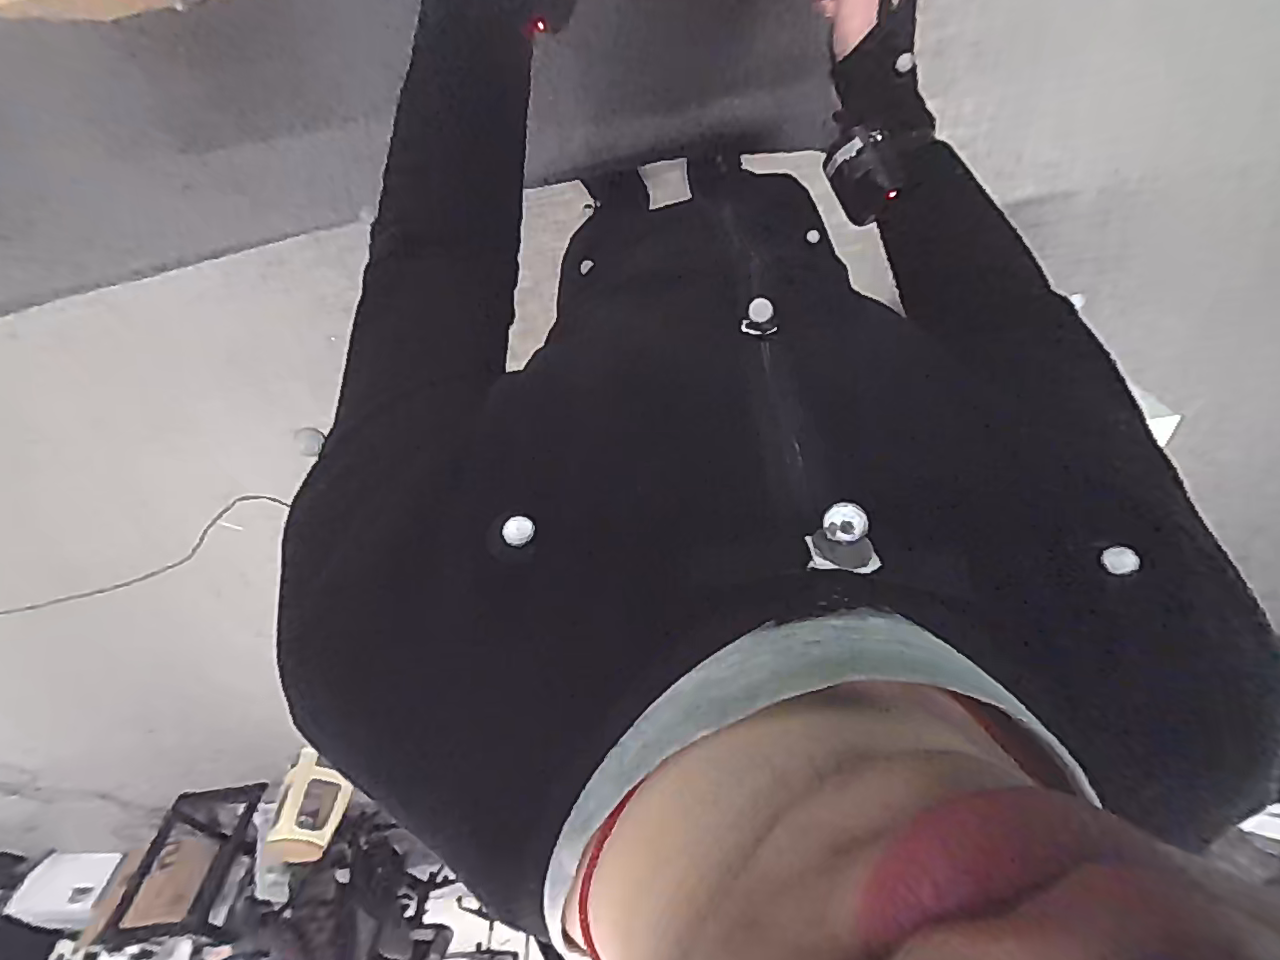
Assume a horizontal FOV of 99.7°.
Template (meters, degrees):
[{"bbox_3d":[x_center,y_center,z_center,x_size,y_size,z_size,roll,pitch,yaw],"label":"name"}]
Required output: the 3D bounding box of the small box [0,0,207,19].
[{"bbox_3d":[-0.438,-0.464,0.398,0.179,0.176,0.168,-9,128,5],"label":"small box"}]
